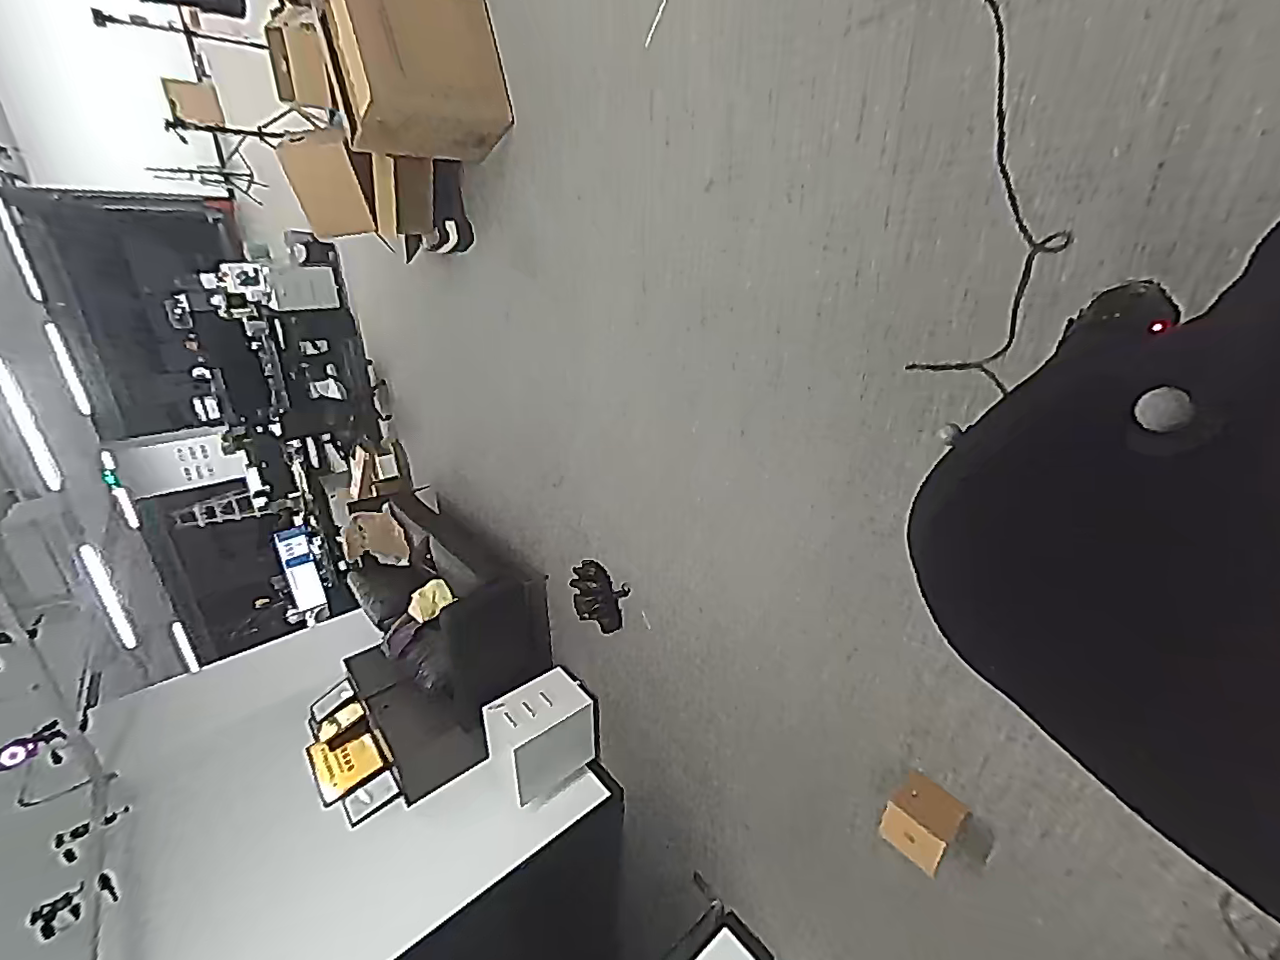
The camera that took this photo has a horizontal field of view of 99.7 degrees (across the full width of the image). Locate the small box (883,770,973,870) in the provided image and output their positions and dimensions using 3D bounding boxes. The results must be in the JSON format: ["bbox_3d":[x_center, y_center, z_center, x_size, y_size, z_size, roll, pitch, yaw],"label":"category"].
[{"bbox_3d":[0.892,1.039,1.675,0.179,0.176,0.168,27,127,42],"label":"small box"}]
